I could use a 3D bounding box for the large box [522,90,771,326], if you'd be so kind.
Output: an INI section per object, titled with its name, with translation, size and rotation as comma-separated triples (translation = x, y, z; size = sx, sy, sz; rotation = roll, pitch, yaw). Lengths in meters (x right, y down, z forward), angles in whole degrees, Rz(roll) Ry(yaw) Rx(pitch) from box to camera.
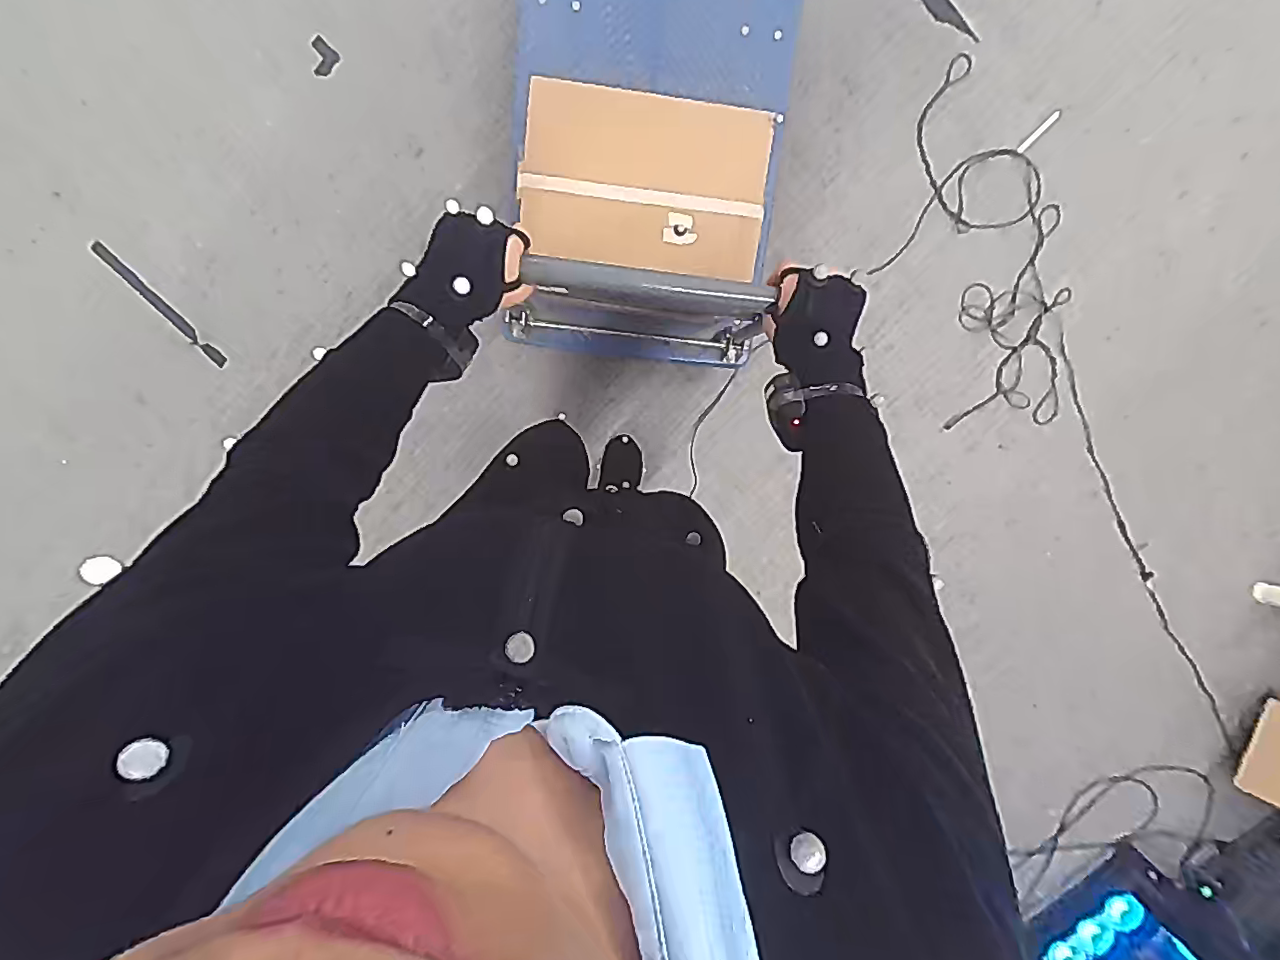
[large box]
translation = -0.003, -0.490, 1.054
size = 0.408, 0.320, 0.320
rotation = 6, 101, -5
